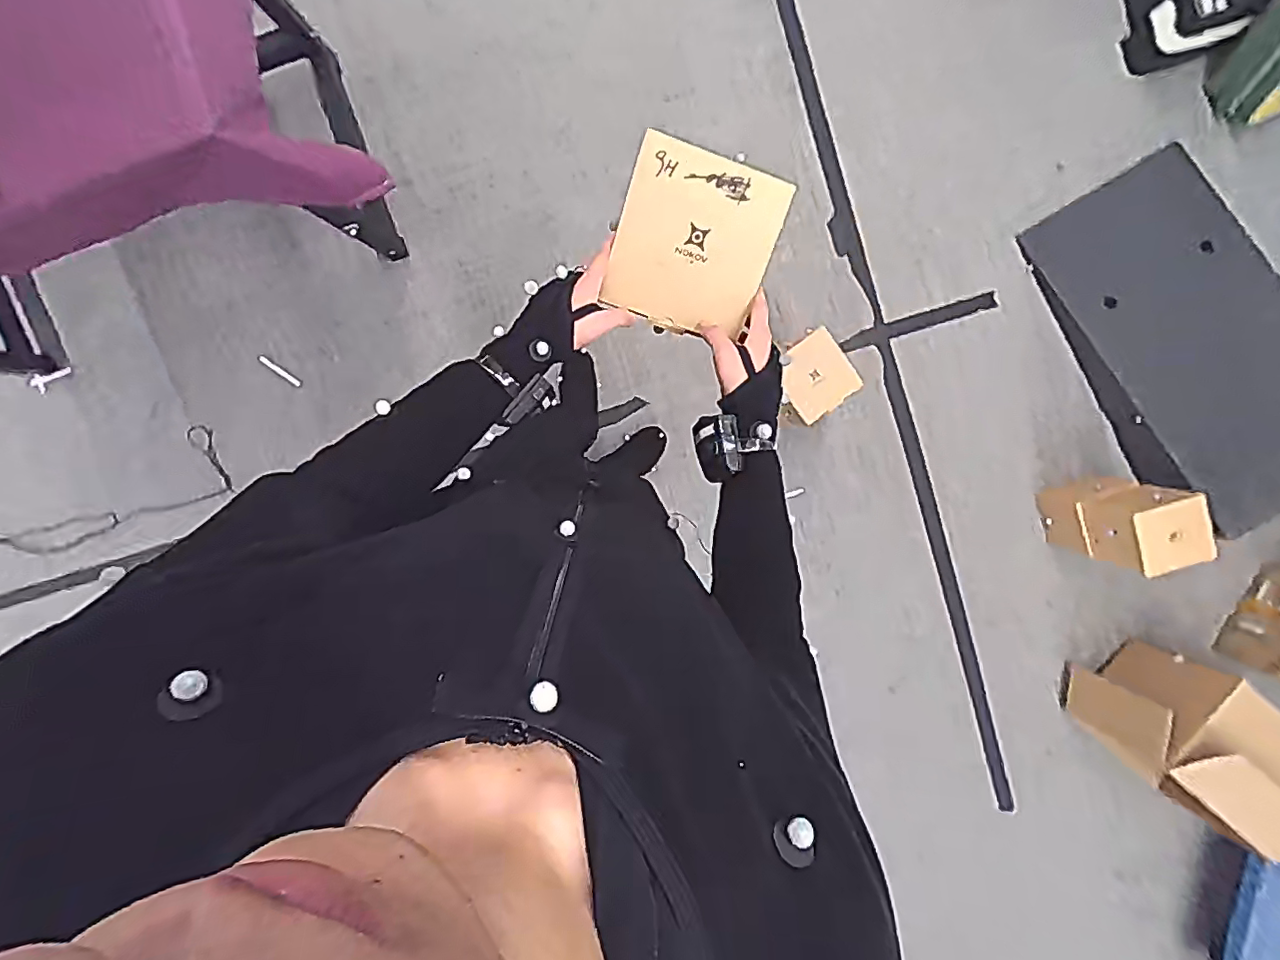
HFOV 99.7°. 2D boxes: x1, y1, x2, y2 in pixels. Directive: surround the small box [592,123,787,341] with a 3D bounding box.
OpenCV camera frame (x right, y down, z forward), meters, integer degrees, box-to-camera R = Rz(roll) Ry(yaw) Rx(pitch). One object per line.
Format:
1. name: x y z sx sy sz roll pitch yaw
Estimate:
1. small box: 0.051 -0.286 0.651 0.168 0.176 0.179 17 110 -7
